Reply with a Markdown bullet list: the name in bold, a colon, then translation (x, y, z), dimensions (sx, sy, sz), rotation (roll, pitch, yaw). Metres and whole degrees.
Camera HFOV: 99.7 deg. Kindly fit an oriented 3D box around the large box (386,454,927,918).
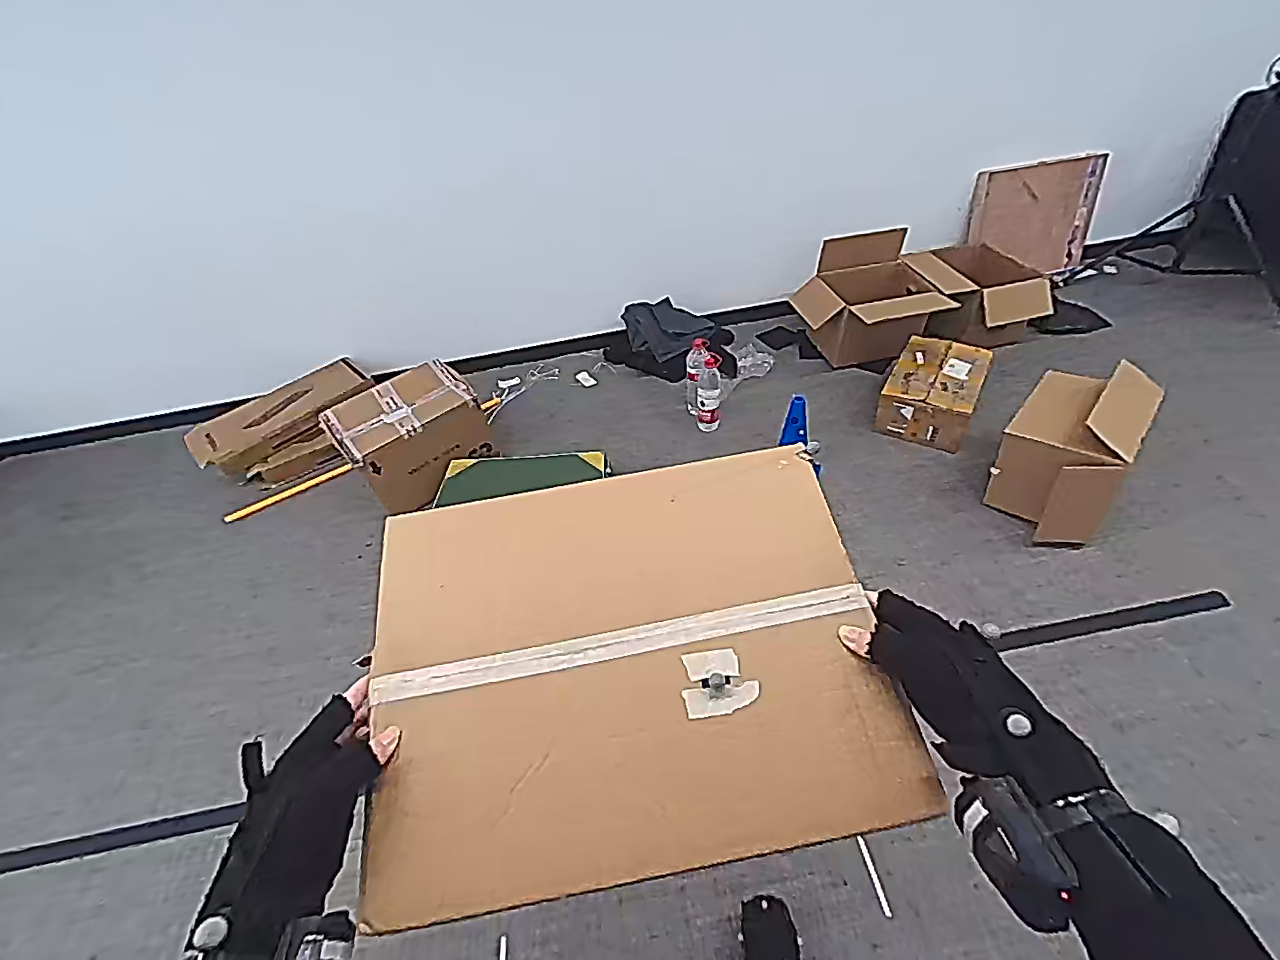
- **large box**: translation (-0.003, 0.214, 0.585), dimensions (0.408, 0.320, 0.320), rotation (-10, 60, -2)
